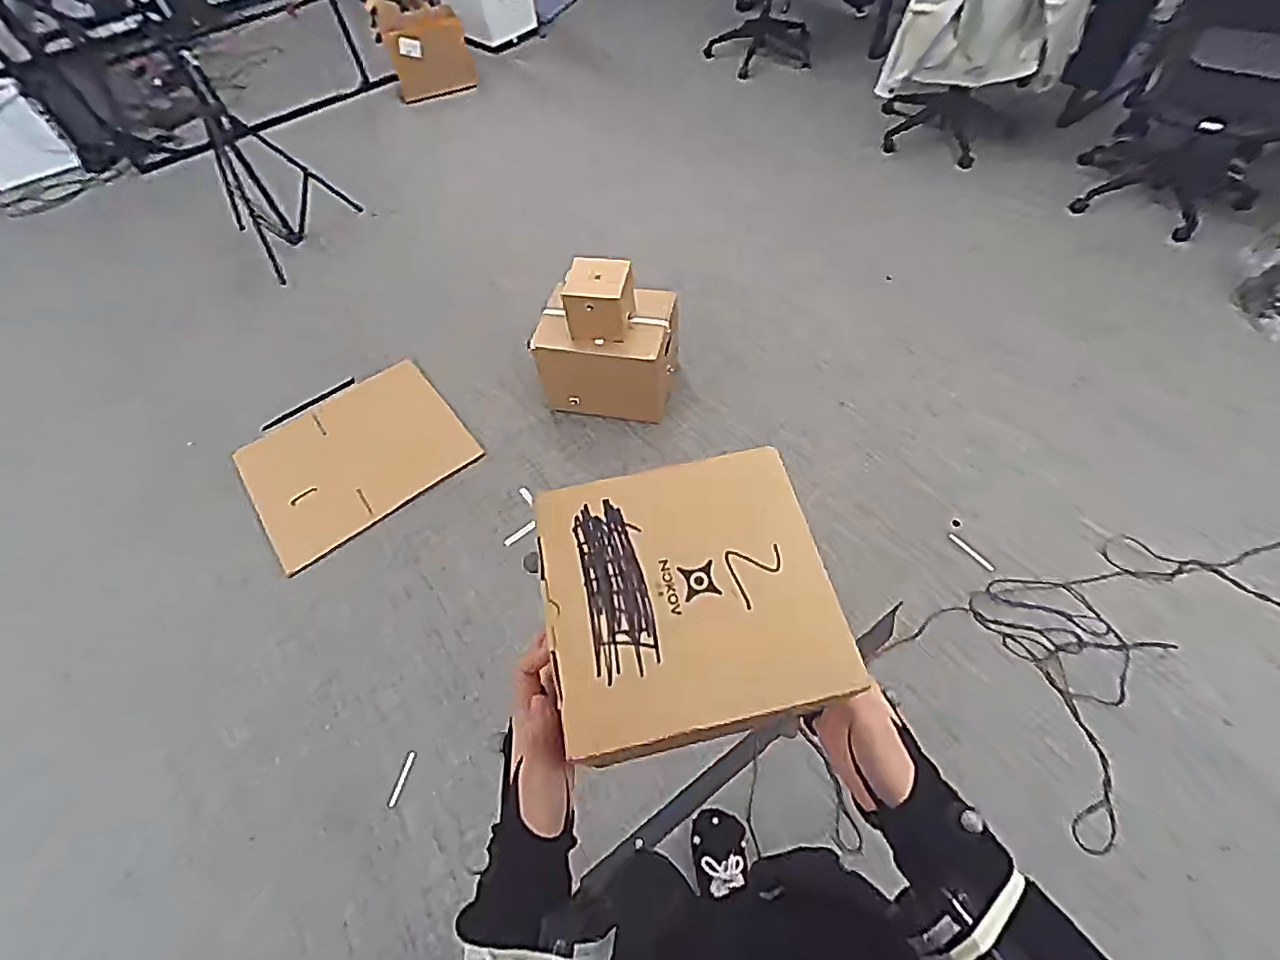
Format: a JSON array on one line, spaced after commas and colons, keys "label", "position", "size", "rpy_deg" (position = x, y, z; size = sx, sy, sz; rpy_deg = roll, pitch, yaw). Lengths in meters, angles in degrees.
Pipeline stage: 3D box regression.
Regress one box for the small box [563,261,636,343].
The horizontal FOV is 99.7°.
[{"label": "small box", "position": [-0.115, -0.532, 1.624], "size": [0.179, 0.176, 0.168], "rpy_deg": [7, 60, 9]}]
